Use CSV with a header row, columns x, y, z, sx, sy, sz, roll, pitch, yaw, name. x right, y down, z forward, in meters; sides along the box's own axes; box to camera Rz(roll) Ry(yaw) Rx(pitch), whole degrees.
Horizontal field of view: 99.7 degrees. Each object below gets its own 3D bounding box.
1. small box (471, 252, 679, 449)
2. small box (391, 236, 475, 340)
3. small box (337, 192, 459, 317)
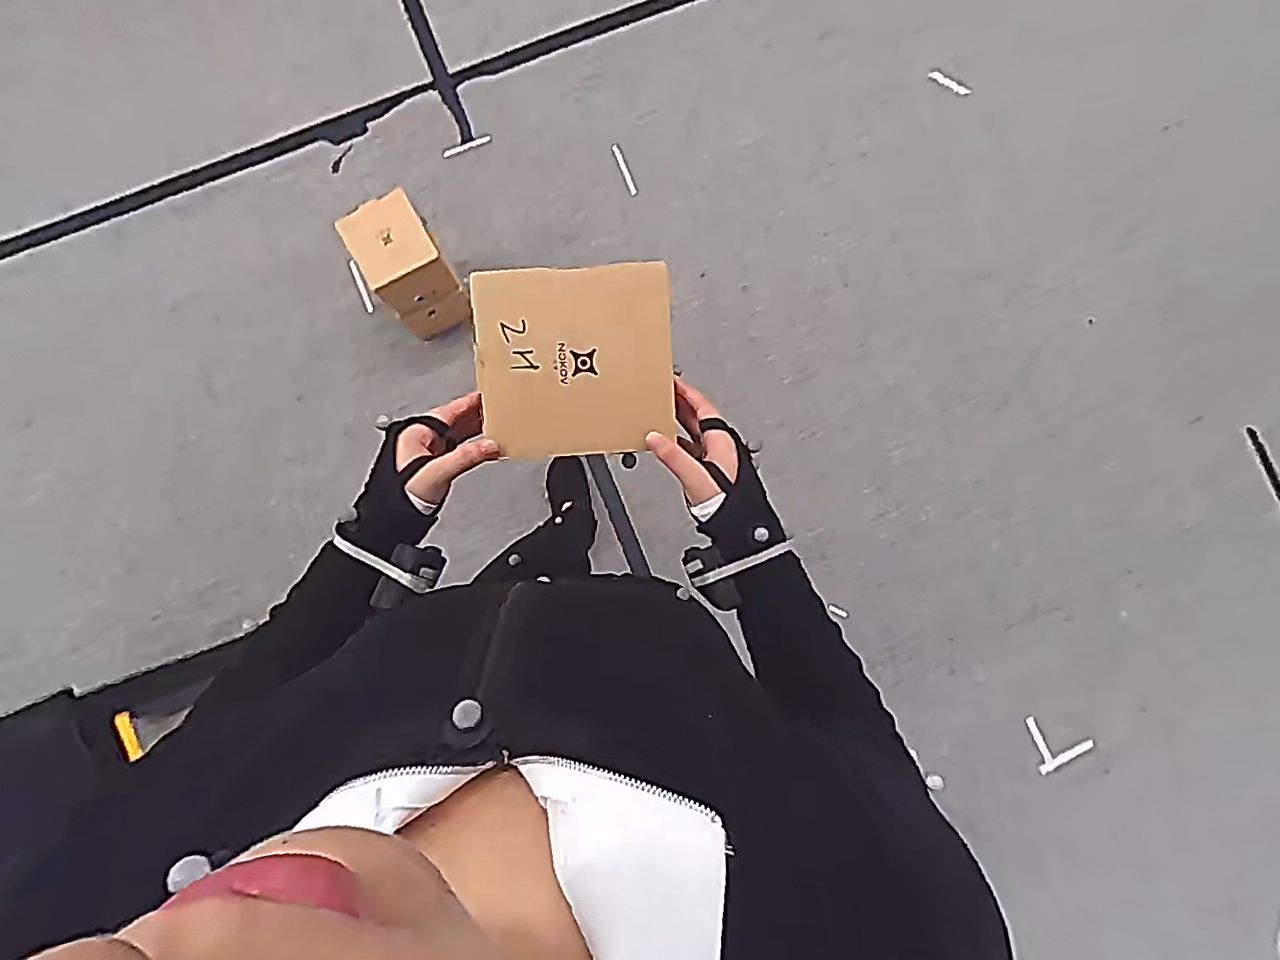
x,y,z,sx,sy,sz,roll,pitch,yaw,name
-0.057,-0.122,0.555,0.179,0.176,0.168,-3,95,0,small box
-0.551,-0.489,1.405,0.179,0.176,0.168,-26,89,-5,small box
-0.546,-0.508,1.243,0.168,0.176,0.179,-30,90,-3,small box
